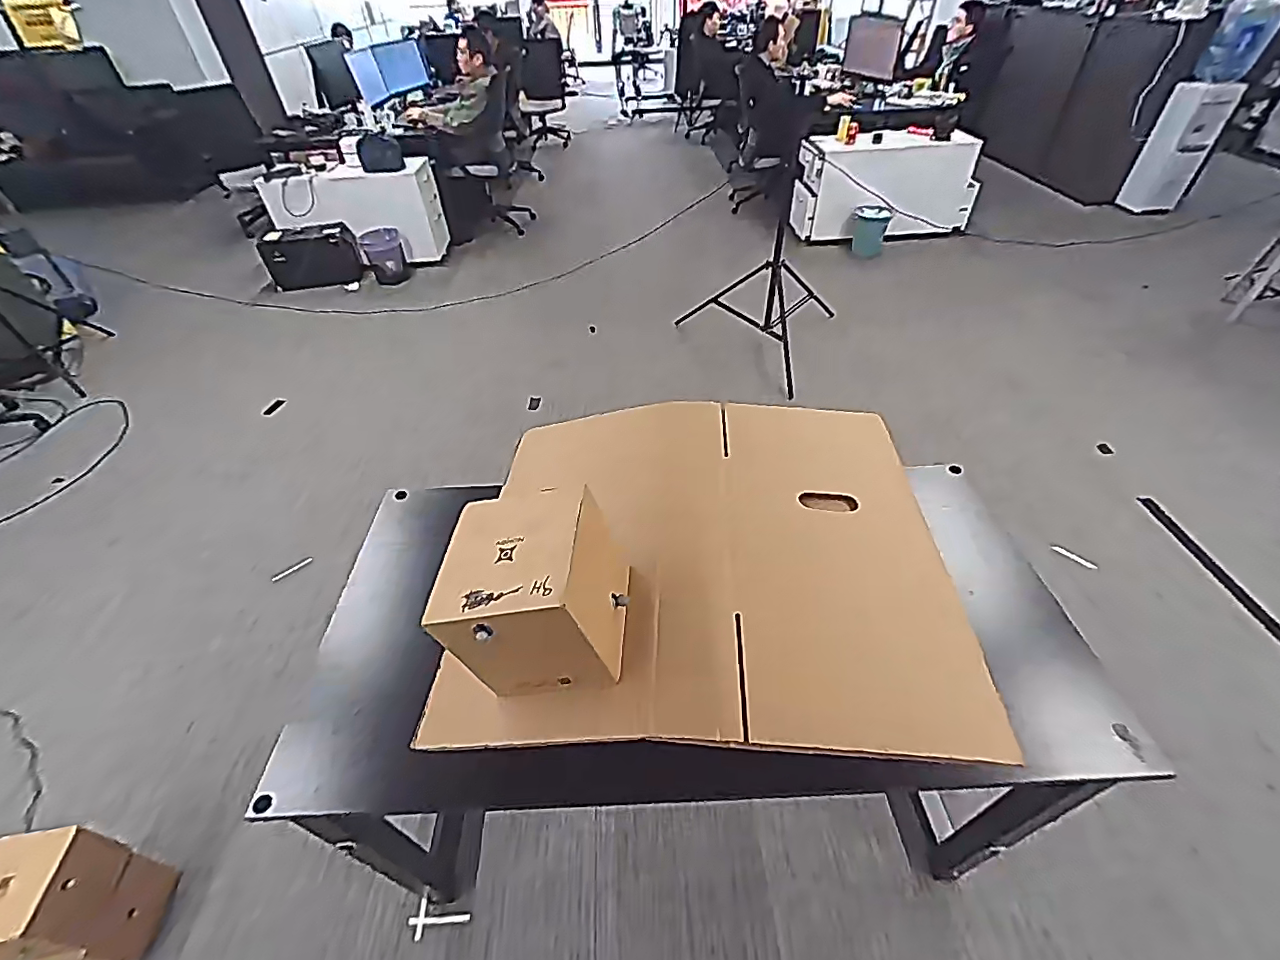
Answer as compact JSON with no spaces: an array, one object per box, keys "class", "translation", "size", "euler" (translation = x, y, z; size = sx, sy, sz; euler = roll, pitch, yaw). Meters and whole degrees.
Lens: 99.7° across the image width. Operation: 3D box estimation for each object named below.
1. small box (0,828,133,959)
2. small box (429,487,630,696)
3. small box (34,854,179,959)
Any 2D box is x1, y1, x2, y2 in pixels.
[{"class":"small box","translation":[-1.159,0.813,1.053],"size":[0.168,0.176,0.179],"euler":[-7,42,-6]},{"class":"small box","translation":[-0.117,0.137,0.659],"size":[0.168,0.176,0.179],"euler":[-11,41,15]},{"class":"small box","translation":[-1.151,0.935,1.160],"size":[0.168,0.176,0.179],"euler":[-6,44,-3]}]
